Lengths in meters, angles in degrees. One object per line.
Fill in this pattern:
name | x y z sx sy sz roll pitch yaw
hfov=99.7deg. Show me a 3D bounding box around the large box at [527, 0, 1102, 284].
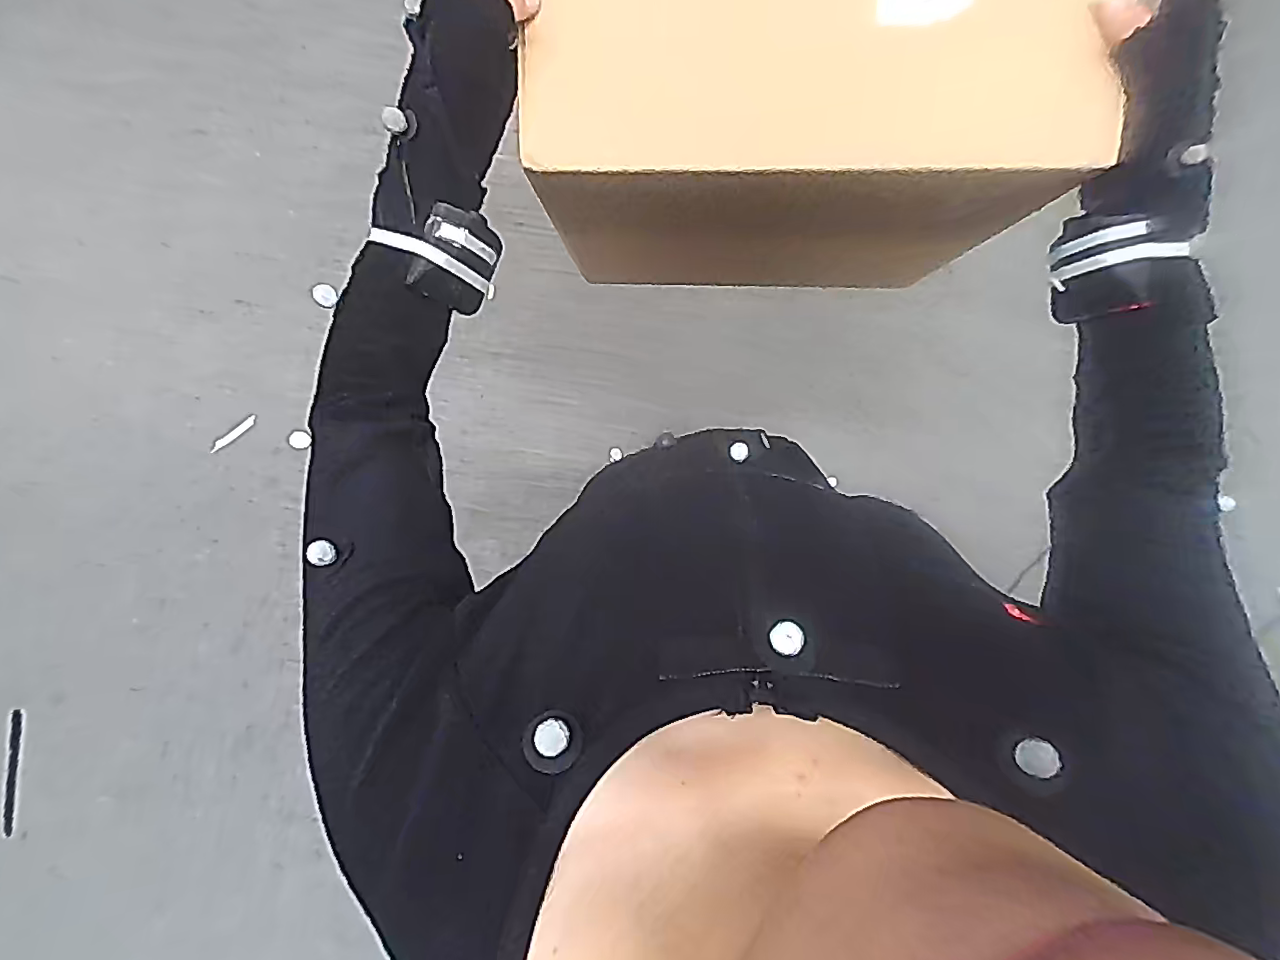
large box | 0.121 -0.390 0.520 0.408 0.320 0.320 1 96 2
